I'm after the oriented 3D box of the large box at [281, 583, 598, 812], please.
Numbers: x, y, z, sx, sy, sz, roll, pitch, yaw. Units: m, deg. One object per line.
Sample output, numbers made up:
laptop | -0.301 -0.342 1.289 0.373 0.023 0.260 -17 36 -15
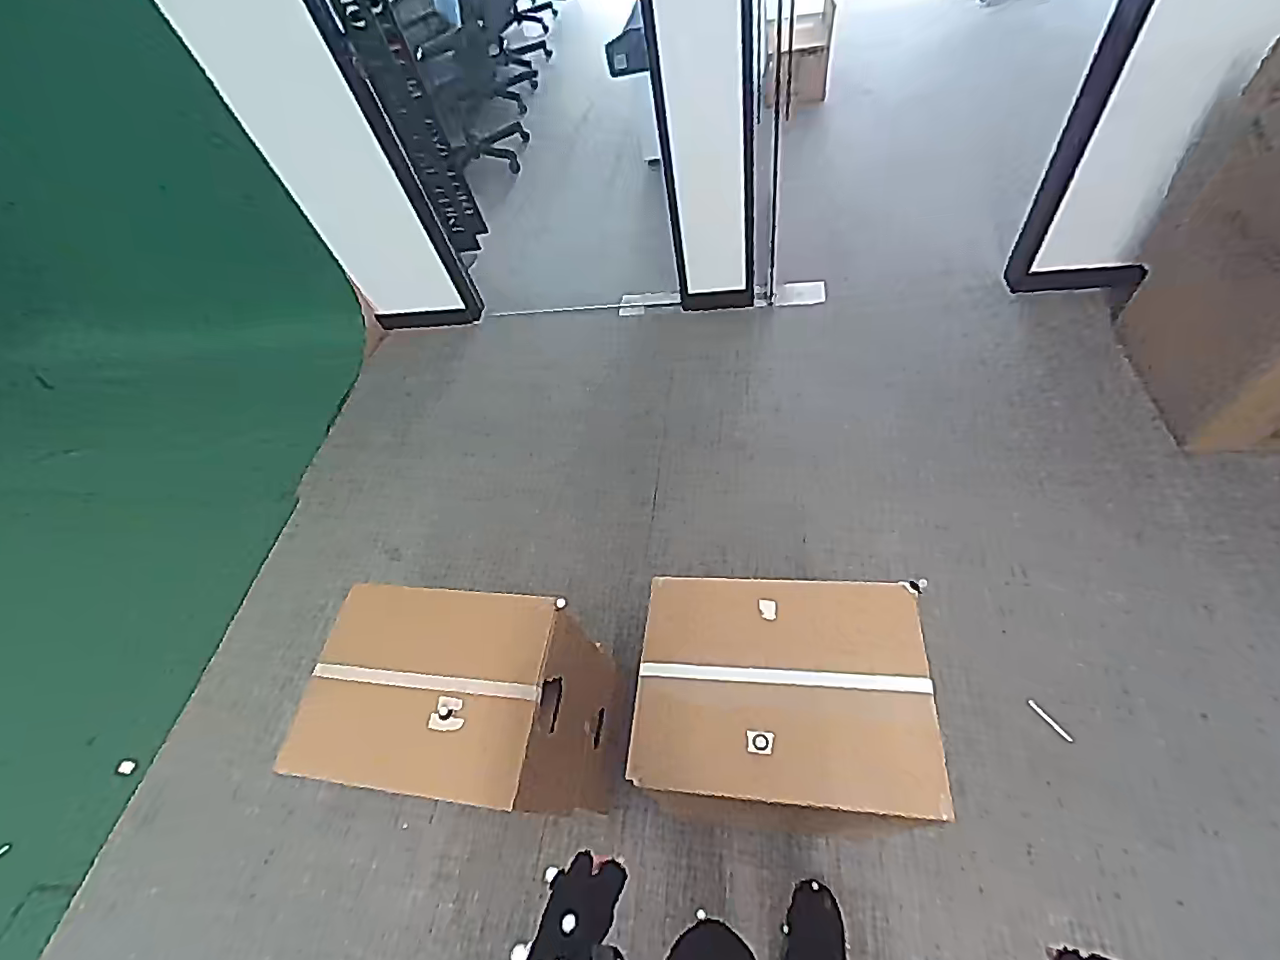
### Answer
large box | -0.323 0.404 0.998 0.408 0.320 0.320 2 58 12
